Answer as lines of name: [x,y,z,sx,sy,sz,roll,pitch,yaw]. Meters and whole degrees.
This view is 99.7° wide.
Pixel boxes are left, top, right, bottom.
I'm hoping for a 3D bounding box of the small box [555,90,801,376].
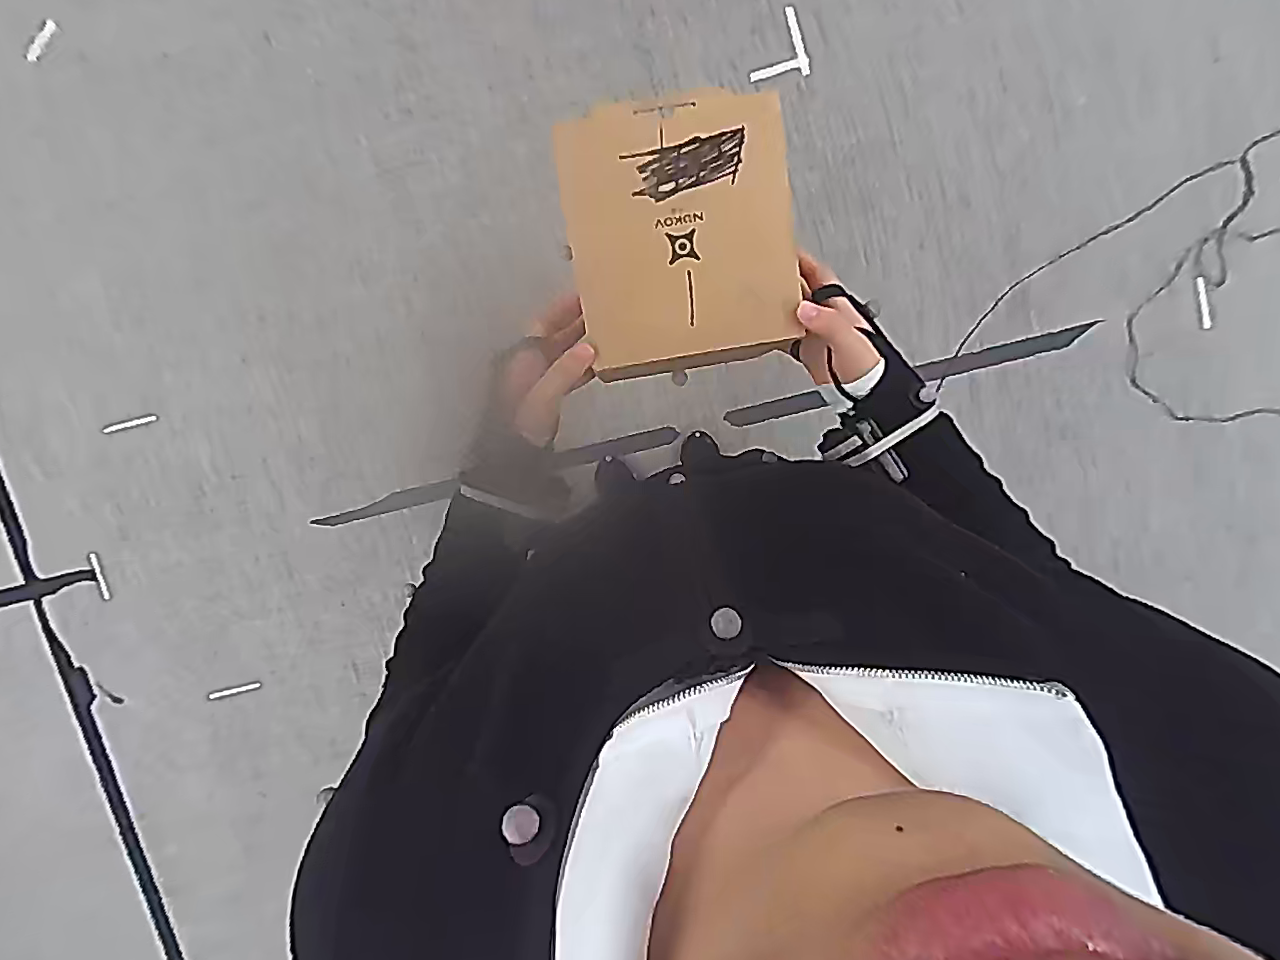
small box: [0.028,-0.195,0.479,0.168,0.176,0.179,-9,98,1]
